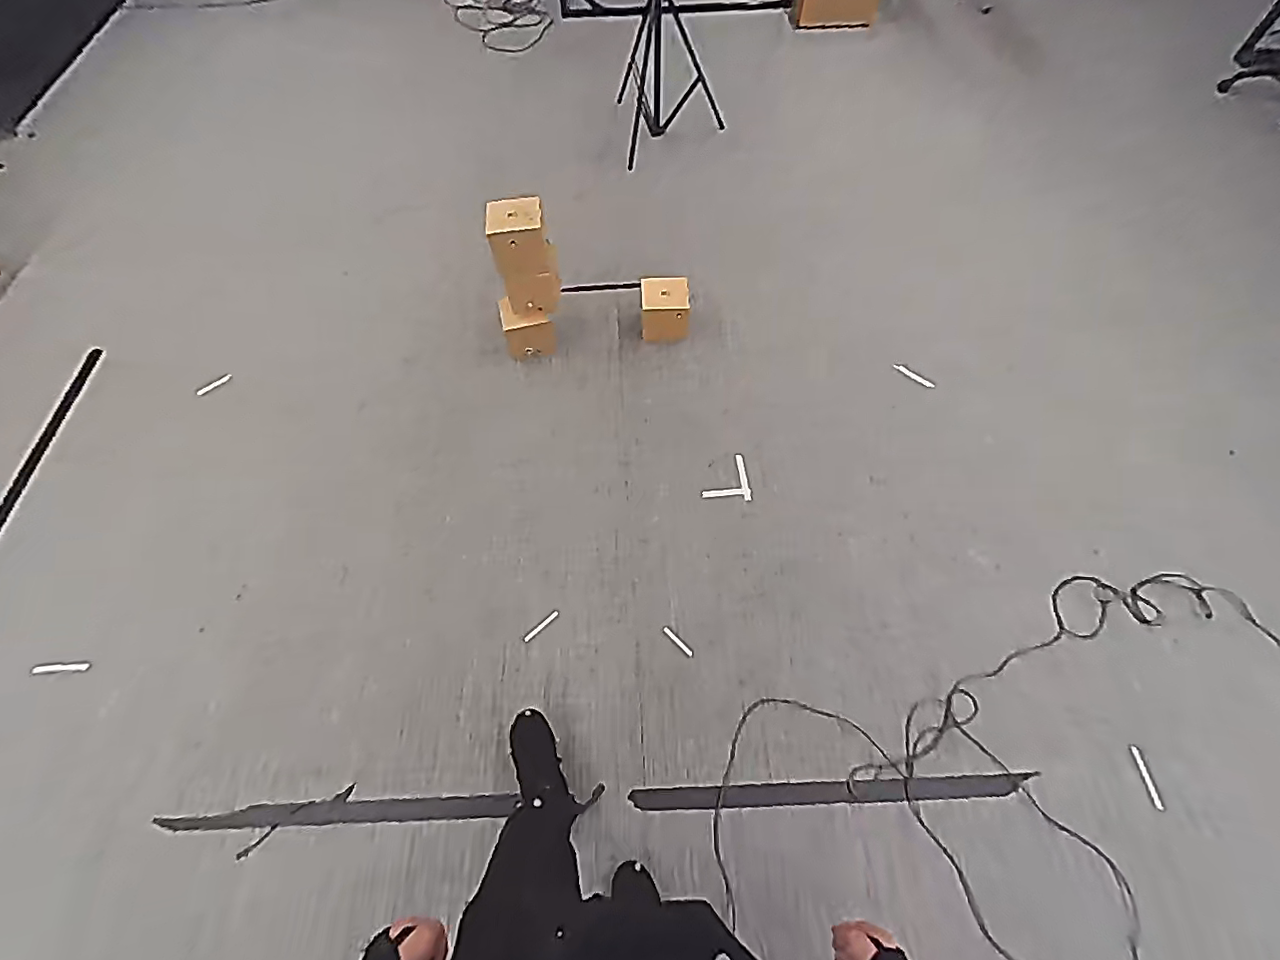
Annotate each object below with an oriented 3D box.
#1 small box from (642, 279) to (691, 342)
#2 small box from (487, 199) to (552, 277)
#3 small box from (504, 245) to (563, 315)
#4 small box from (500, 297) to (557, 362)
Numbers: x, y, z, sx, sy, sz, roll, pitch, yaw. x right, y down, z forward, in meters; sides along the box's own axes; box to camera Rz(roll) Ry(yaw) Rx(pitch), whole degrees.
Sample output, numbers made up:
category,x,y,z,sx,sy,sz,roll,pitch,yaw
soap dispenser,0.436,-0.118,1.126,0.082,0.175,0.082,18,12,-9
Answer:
category,x,y,z,sx,sy,sz,roll,pitch,yaw
small box,0.099,-0.641,2.056,0.179,0.176,0.168,-2,61,-1
small box,-0.392,-0.789,1.776,0.179,0.176,0.168,-7,60,-1
small box,-0.372,-0.709,1.918,0.168,0.176,0.179,0,61,3
small box,-0.417,-0.574,2.031,0.168,0.176,0.179,-13,61,-5
